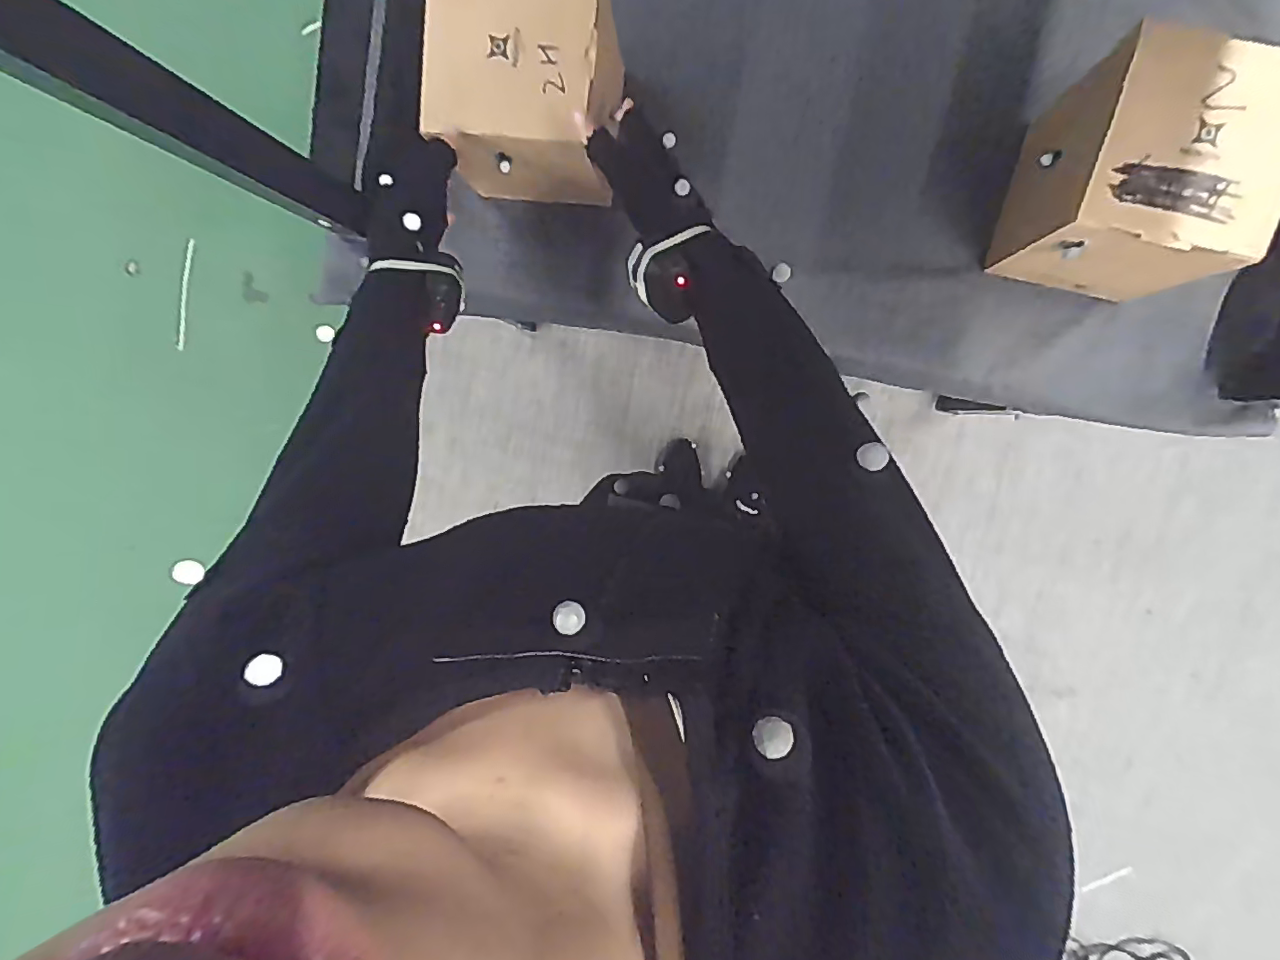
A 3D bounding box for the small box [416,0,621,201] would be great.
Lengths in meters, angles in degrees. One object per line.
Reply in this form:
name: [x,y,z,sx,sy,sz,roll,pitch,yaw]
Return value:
small box: [-0.126,-0.436,0.613,0.179,0.176,0.168,7,99,4]
